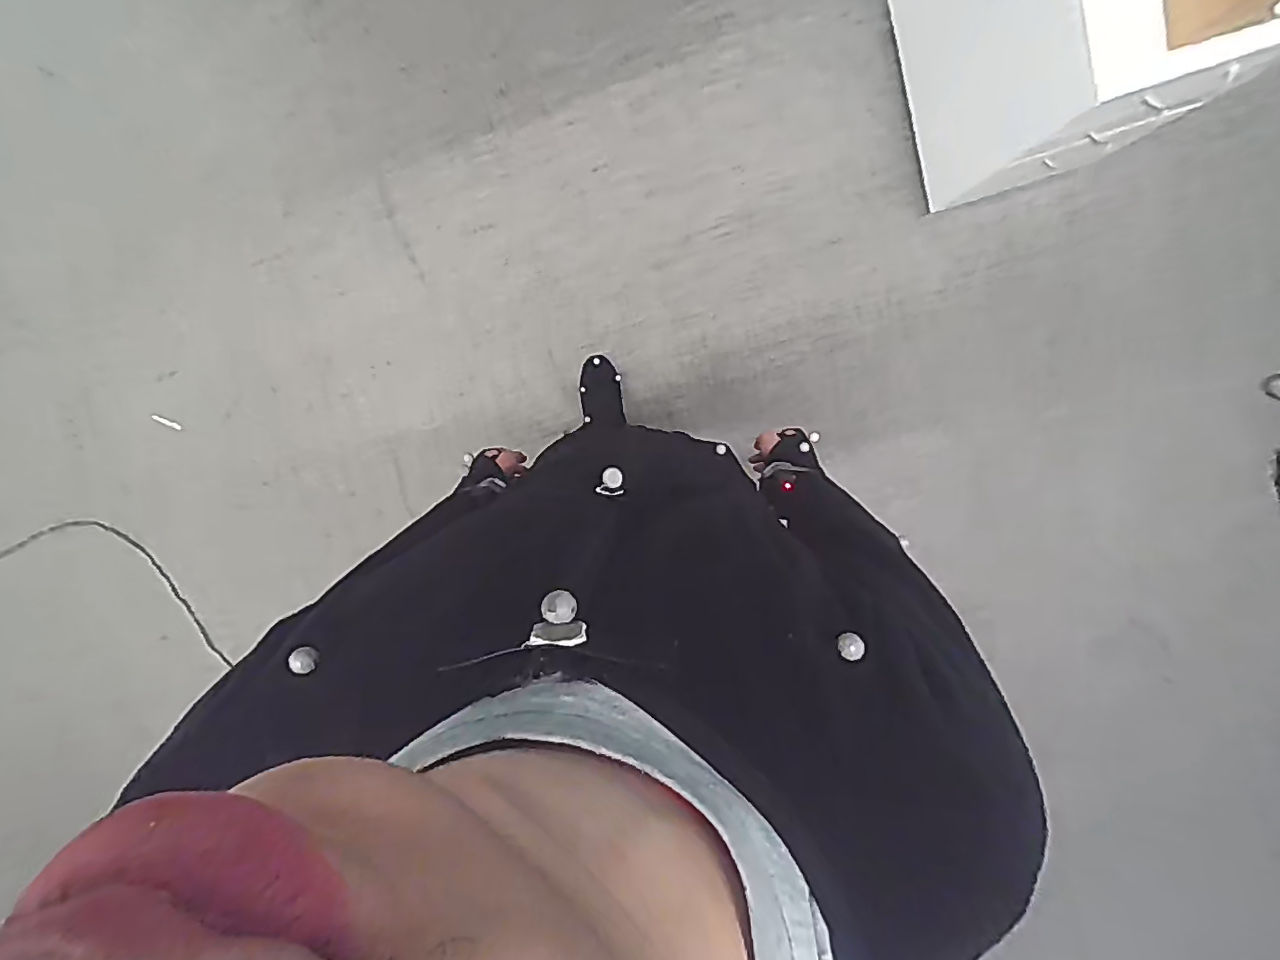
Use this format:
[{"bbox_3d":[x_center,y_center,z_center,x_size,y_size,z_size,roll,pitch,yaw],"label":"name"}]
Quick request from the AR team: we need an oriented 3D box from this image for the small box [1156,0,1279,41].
[{"bbox_3d":[0.835,-0.729,0.713,0.168,0.176,0.179,-14,100,5],"label":"small box"}]
